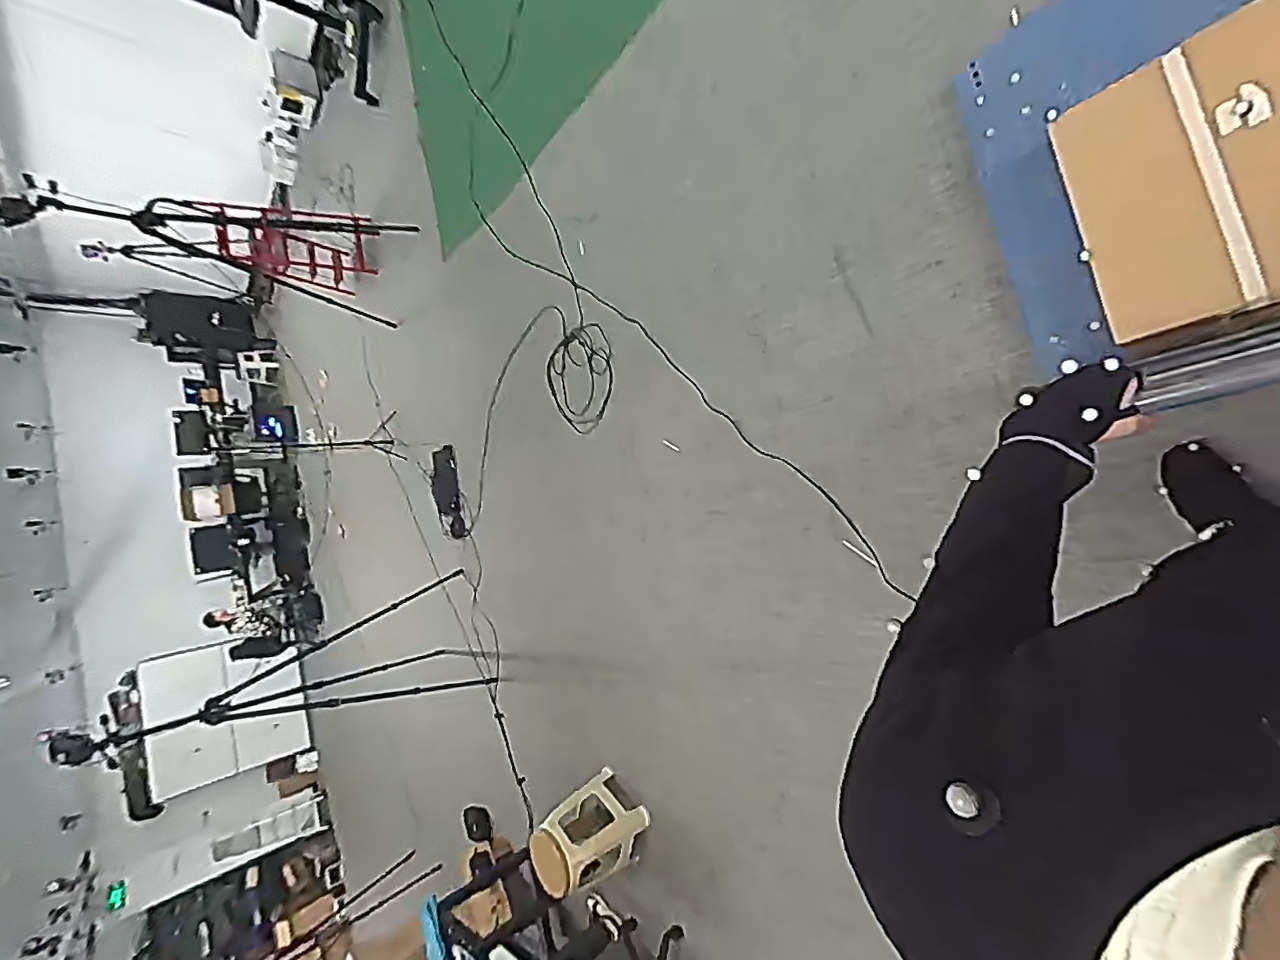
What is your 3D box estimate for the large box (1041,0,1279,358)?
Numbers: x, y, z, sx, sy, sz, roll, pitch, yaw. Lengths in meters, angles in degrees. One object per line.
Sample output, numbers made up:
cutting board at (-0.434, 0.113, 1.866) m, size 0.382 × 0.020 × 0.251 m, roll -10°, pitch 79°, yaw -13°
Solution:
large box at (0.945, -0.459, 0.905) m, size 0.320 × 0.320 × 0.408 m, roll -19°, pitch 80°, yaw 45°
